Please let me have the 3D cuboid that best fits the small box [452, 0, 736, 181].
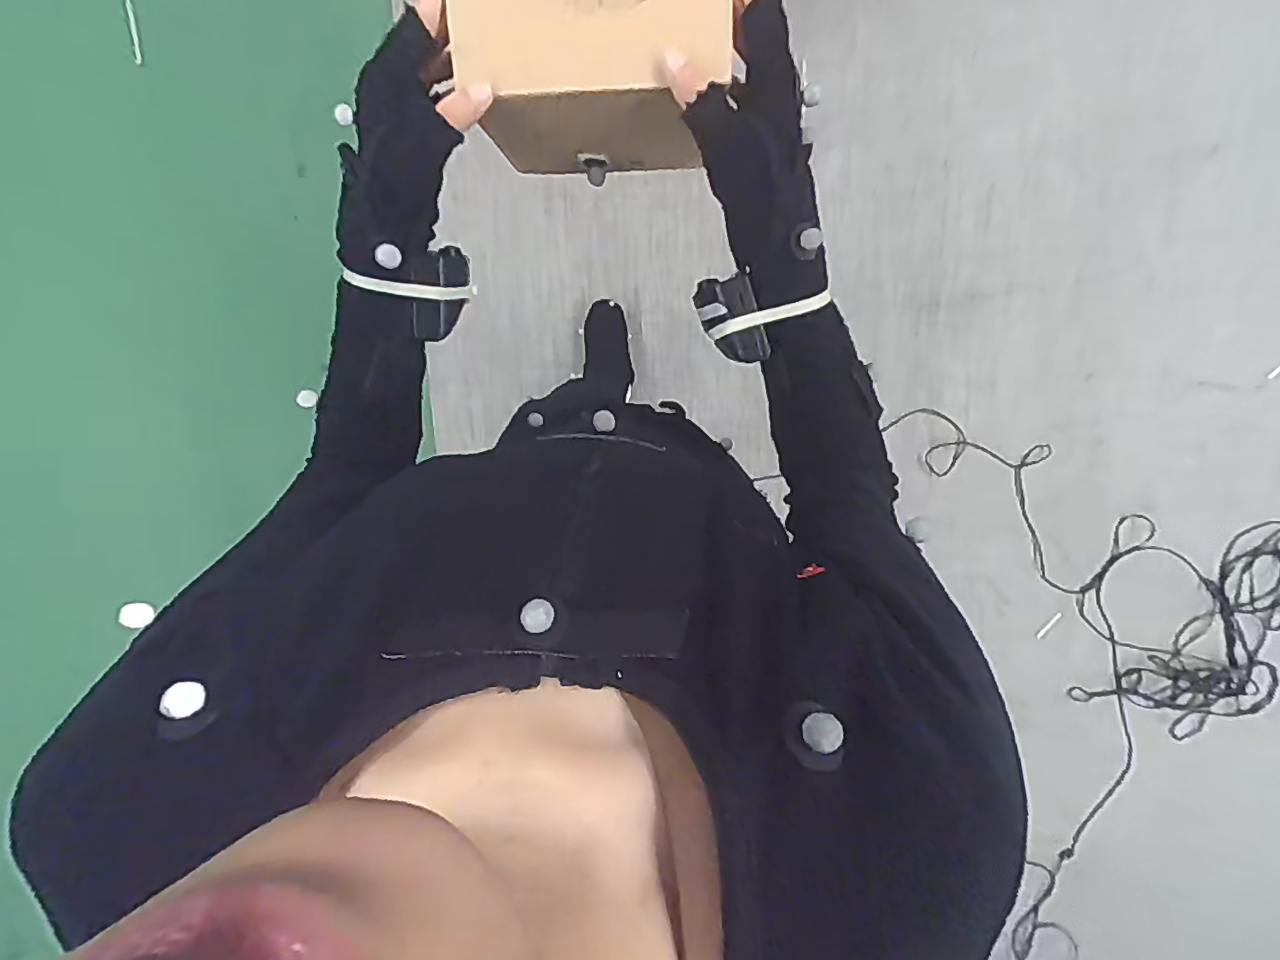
[{"bbox_3d":[-0.026,-0.332,0.378,0.168,0.176,0.179,-1,104,2],"label":"small box"}]
